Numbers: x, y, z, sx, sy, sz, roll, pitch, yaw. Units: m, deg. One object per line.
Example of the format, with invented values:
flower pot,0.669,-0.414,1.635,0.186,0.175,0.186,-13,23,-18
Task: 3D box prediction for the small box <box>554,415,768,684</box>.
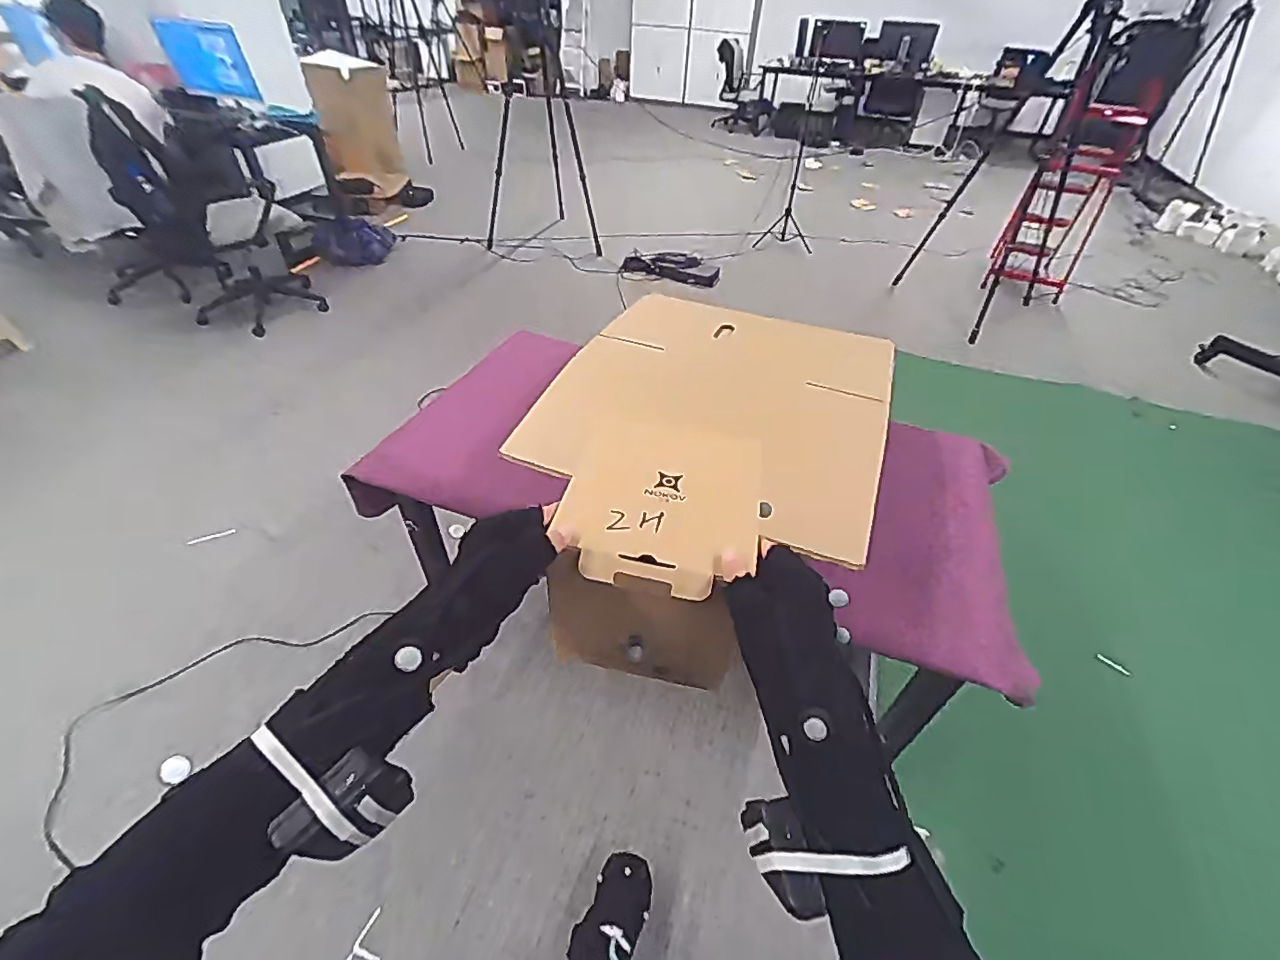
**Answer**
small box,0.022,0.065,0.529,0.168,0.176,0.179,11,42,7
